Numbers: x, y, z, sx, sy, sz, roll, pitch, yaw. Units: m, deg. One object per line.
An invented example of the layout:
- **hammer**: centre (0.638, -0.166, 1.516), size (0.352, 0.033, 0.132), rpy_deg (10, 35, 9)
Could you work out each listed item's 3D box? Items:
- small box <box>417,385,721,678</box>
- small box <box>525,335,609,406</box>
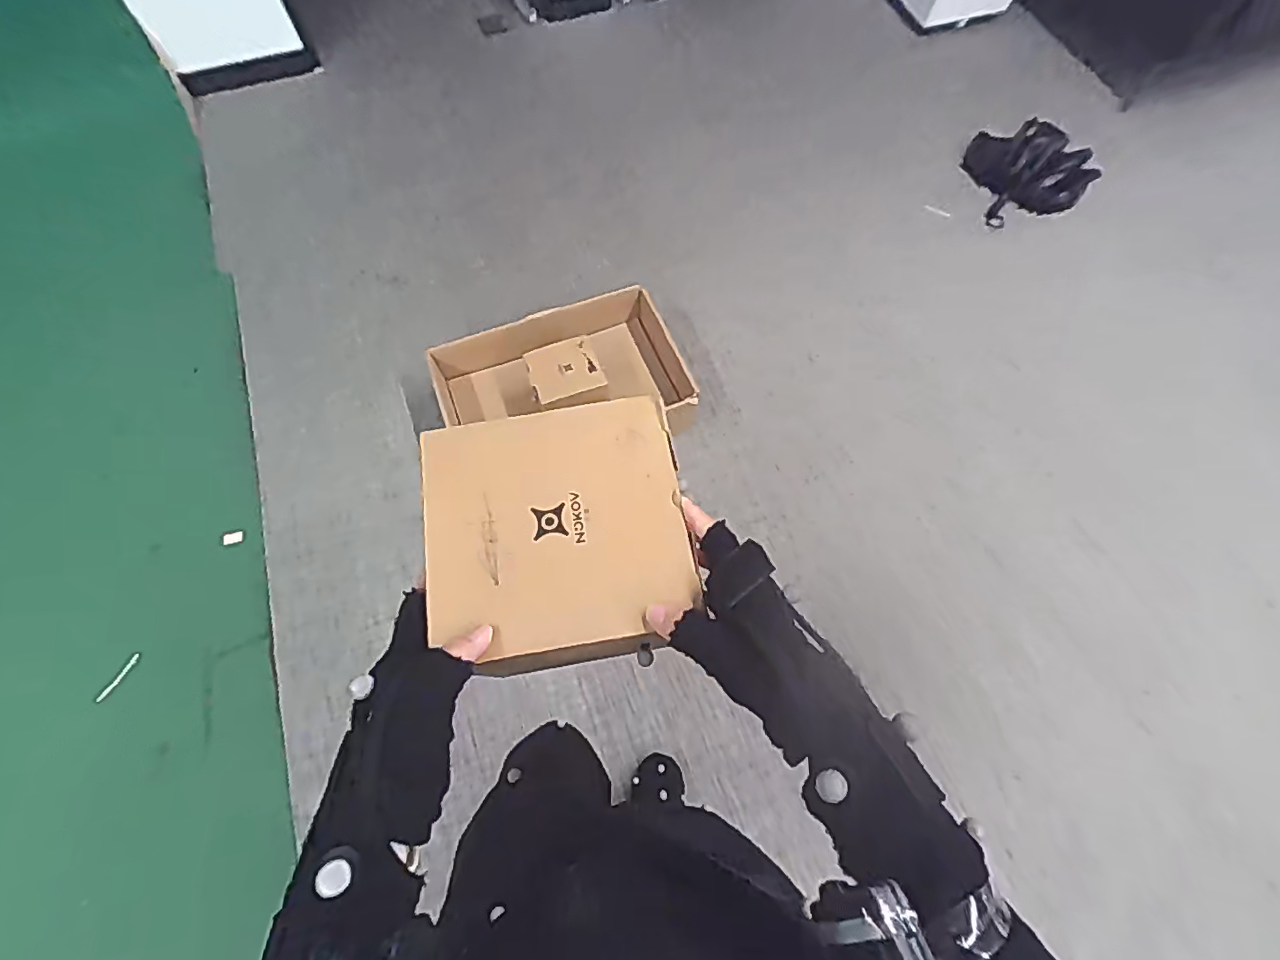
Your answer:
- **small box**: centre (-0.052, 0.051, 0.429), size (0.179, 0.176, 0.168), rpy_deg (-14, 69, -5)
- **small box**: centre (-0.186, -0.248, 1.439), size (0.179, 0.176, 0.168), rpy_deg (-22, 68, -10)
